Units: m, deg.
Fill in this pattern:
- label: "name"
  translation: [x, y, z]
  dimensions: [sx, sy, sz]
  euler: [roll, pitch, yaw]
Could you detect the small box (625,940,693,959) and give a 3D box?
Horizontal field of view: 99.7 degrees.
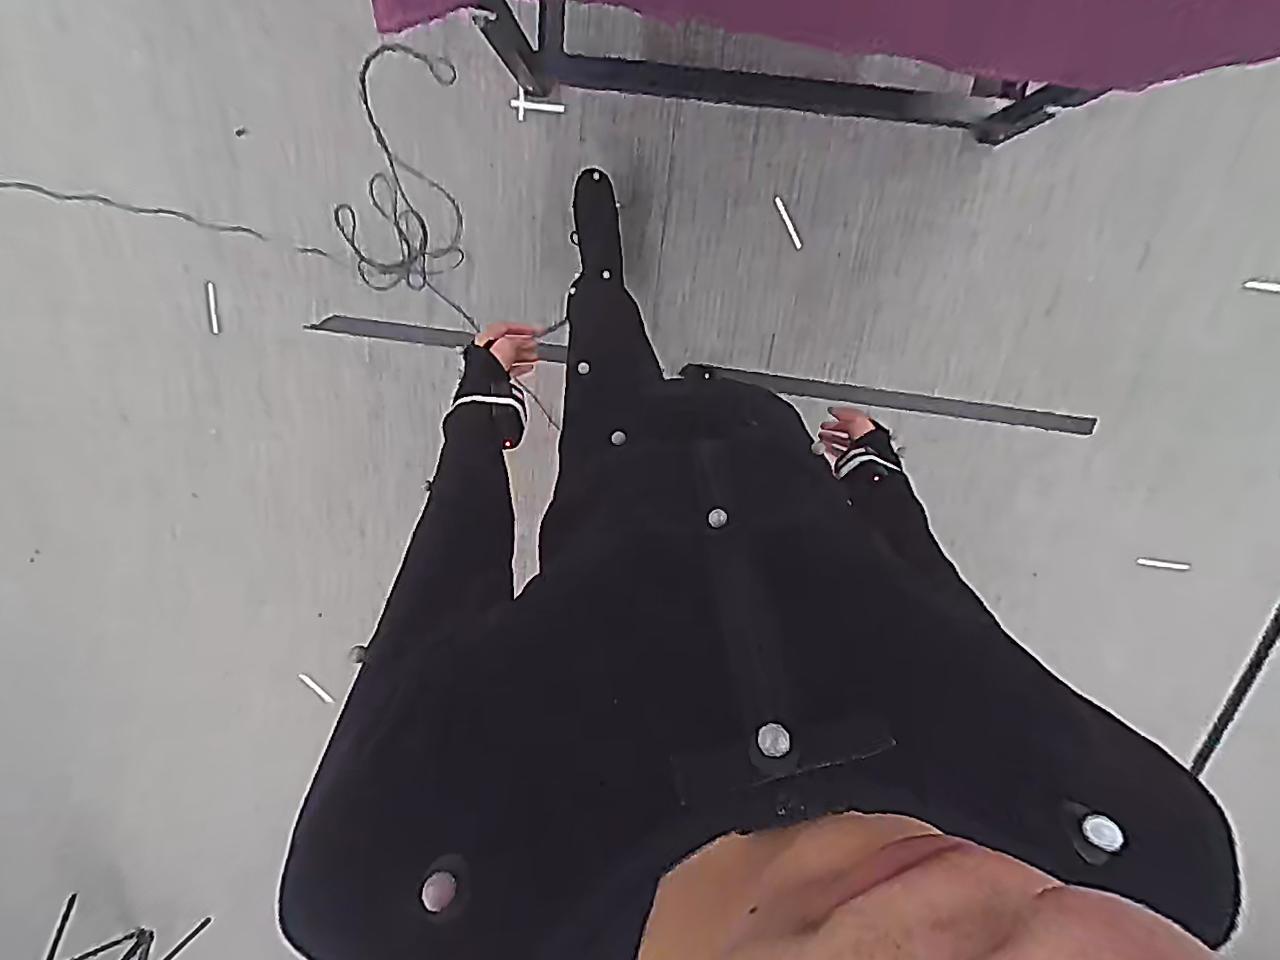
- label: "small box"
  translation: [0.042, 1.325, 1.378]
  dimensions: [0.179, 0.176, 0.168]
  euler: [8, 108, 1]
